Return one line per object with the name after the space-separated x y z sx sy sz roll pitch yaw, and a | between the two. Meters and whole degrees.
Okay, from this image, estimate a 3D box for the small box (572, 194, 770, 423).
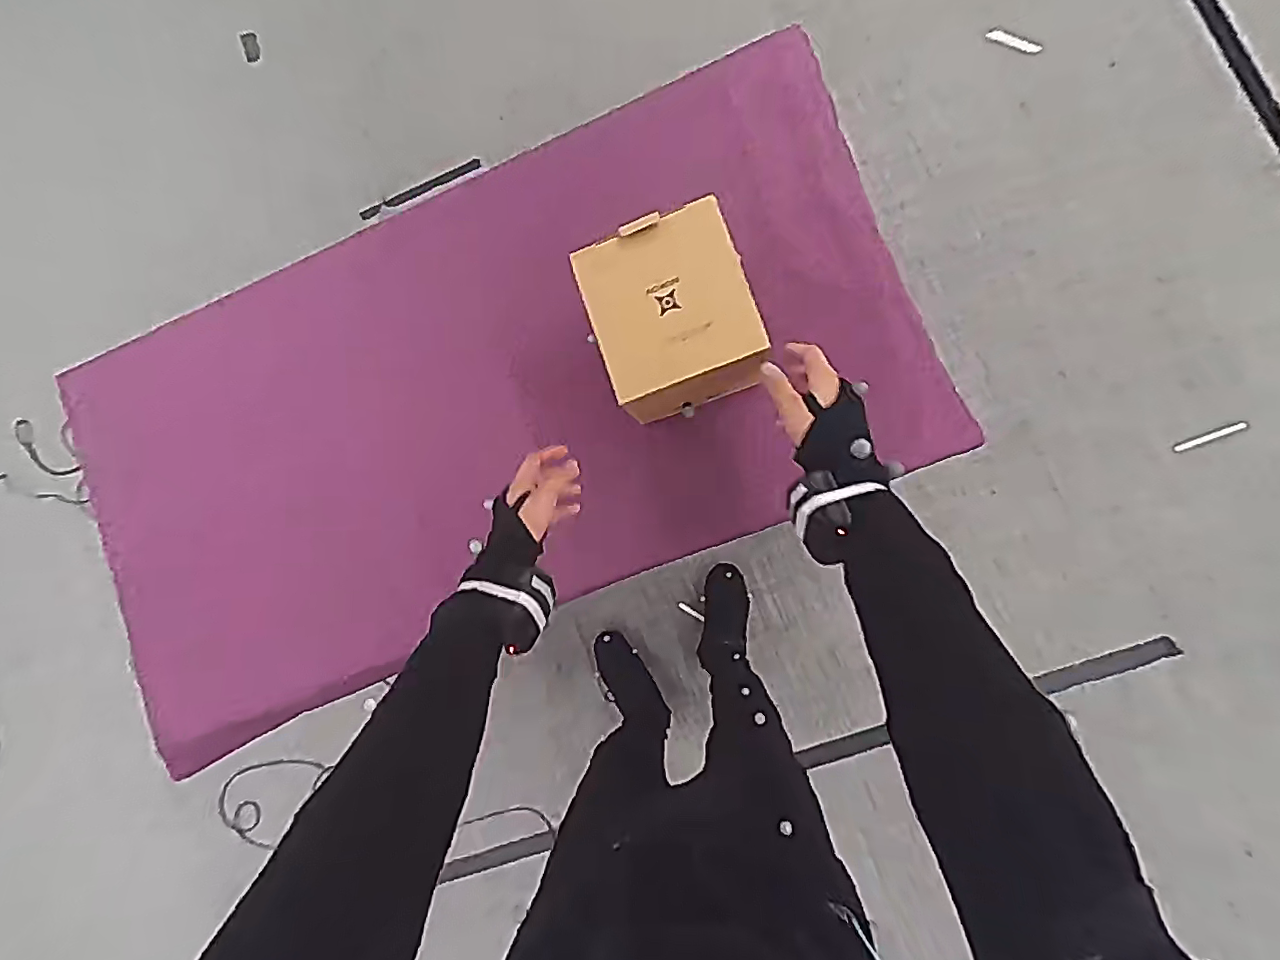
0.040 -0.182 0.630 0.168 0.176 0.179 -19 85 8 | small box
